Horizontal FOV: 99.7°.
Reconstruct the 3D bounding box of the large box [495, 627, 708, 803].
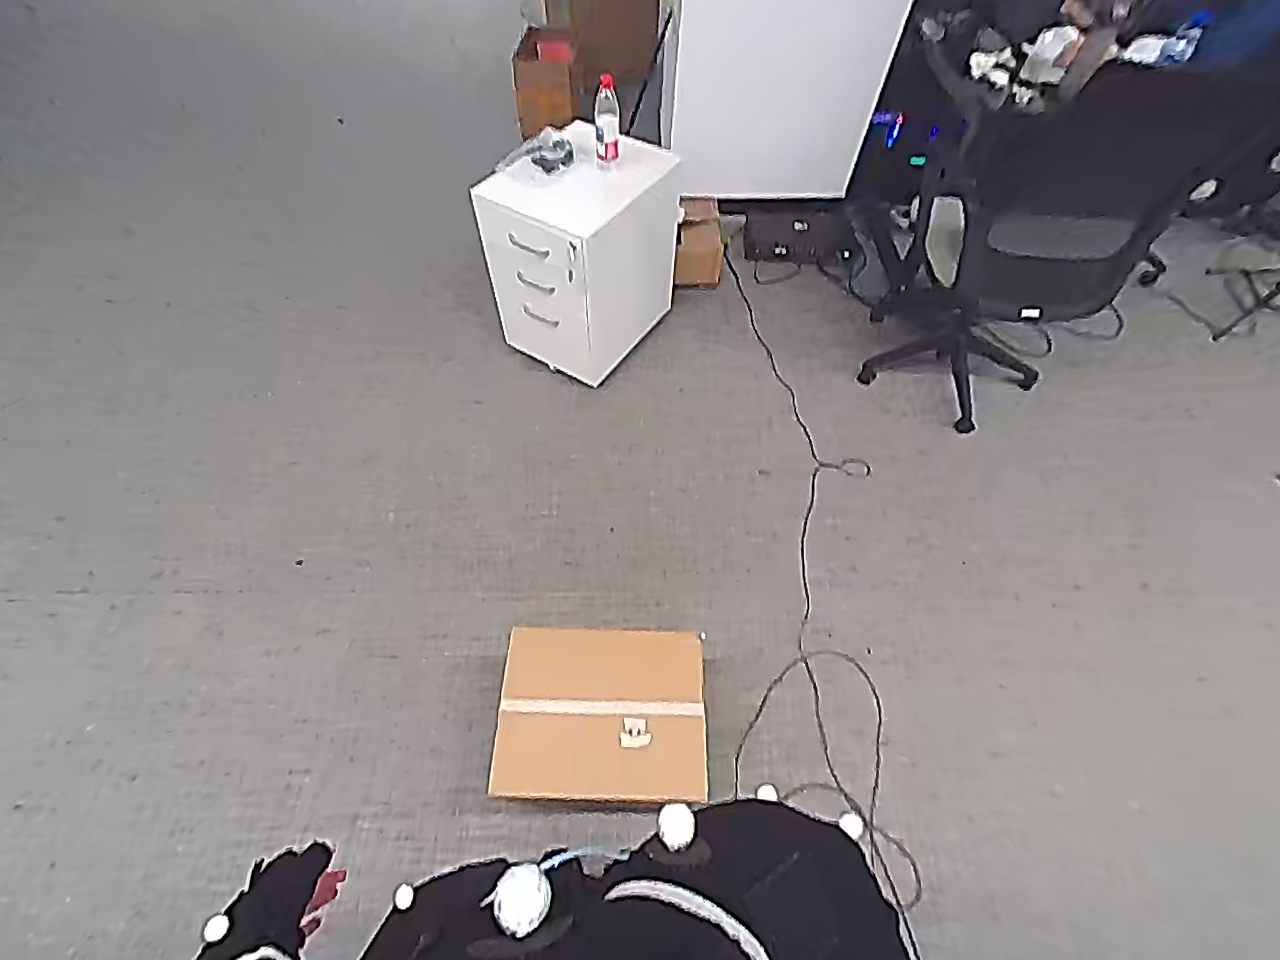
[{"bbox_3d":[-0.077,0.531,1.201,0.408,0.320,0.320,2,57,-1],"label":"large box"}]
